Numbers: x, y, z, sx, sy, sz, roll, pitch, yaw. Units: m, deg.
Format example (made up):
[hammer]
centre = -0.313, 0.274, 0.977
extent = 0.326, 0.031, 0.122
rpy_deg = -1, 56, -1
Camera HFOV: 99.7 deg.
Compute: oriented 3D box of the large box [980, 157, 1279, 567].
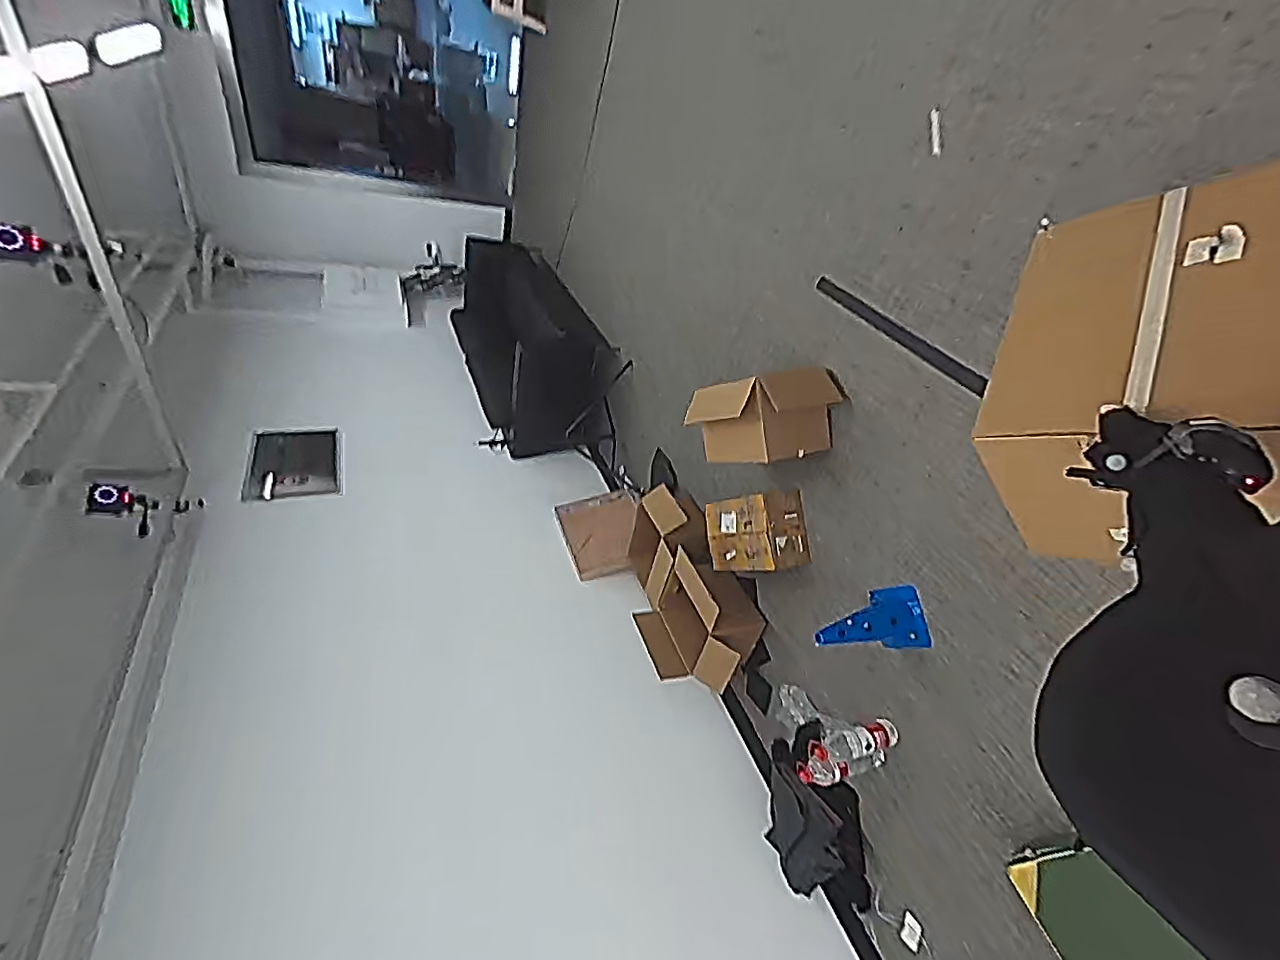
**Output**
[large box]
centre = 0.723, -0.139, 0.729
extent = 0.320, 0.320, 0.408
rpy_deg = 4, 59, 53
